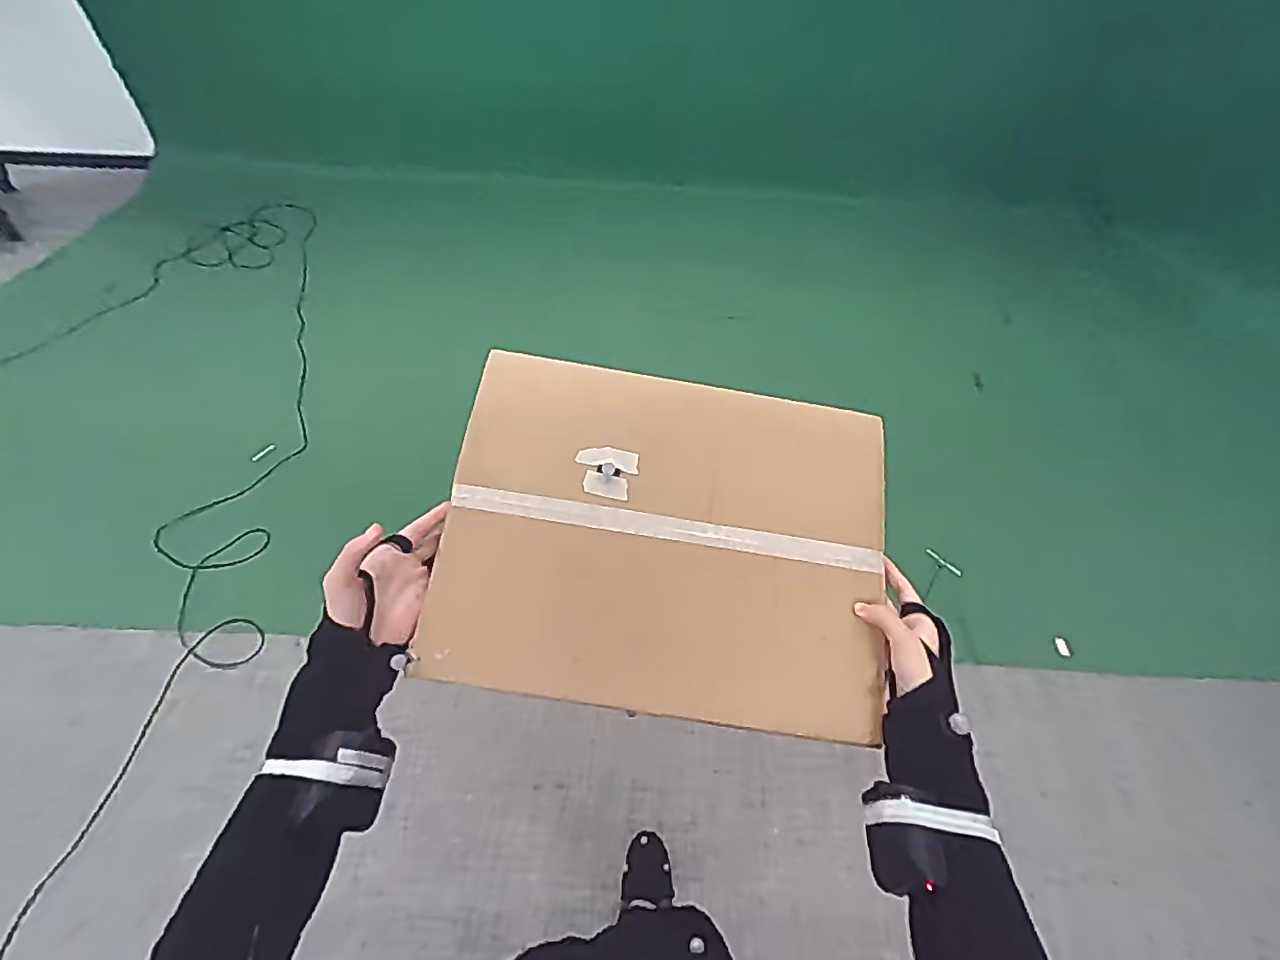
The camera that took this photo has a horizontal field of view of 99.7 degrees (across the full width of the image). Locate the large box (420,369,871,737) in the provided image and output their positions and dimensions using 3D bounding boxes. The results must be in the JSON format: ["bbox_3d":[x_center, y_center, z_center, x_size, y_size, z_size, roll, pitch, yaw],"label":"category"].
[{"bbox_3d":[0.017,0.099,0.656,0.408,0.320,0.320,9,71,-1],"label":"large box"}]
